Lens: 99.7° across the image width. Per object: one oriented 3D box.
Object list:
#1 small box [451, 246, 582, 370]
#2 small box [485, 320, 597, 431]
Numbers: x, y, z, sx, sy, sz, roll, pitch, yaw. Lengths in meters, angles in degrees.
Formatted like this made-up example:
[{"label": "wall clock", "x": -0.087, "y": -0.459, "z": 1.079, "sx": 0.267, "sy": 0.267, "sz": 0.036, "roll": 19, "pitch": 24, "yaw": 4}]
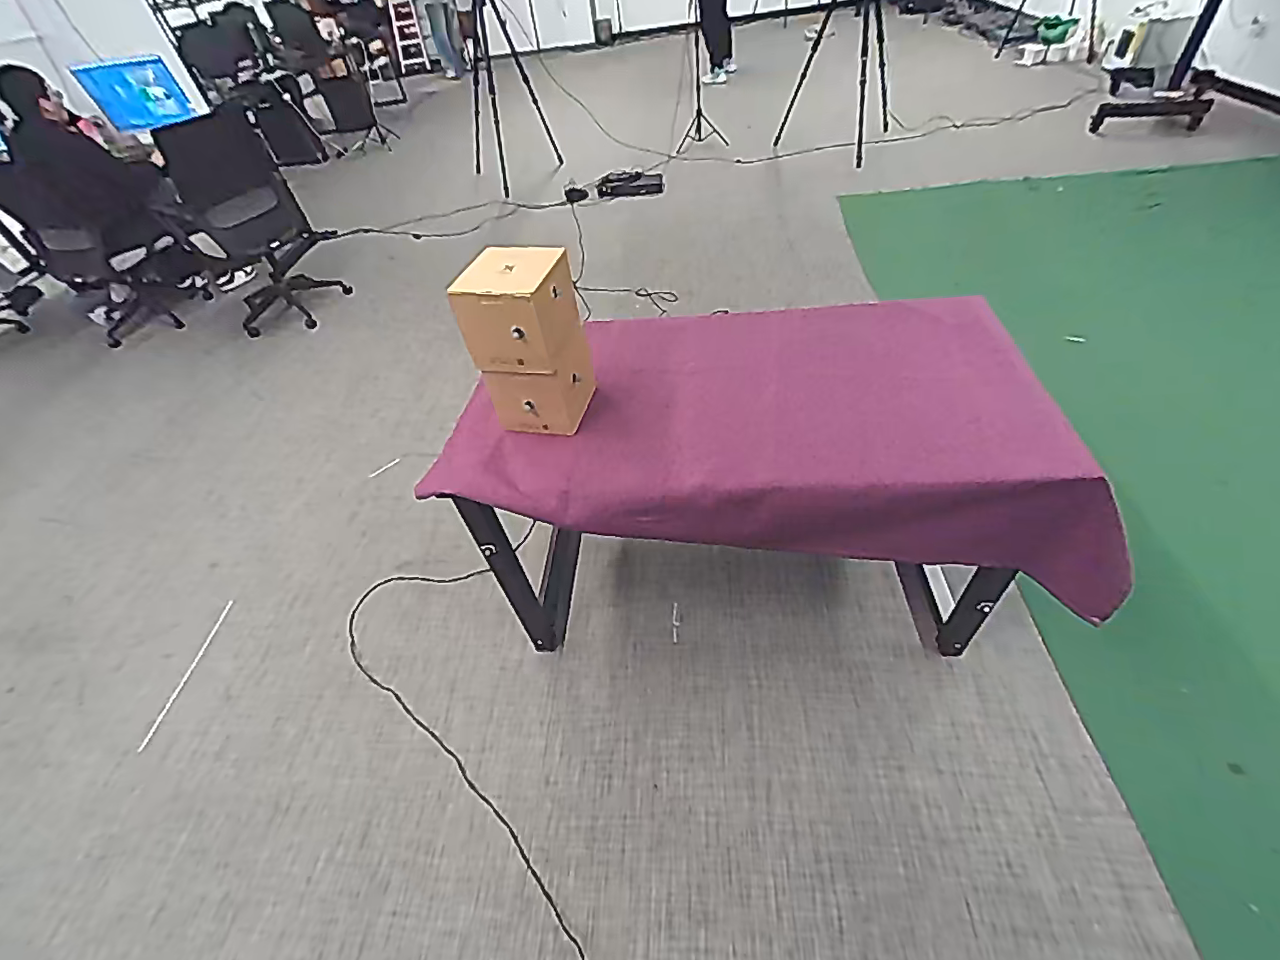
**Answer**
[{"label": "small box", "x": -0.222, "y": -0.327, "z": 1.032, "sx": 0.168, "sy": 0.176, "sz": 0.179, "roll": 7, "pitch": 48, "yaw": 14}, {"label": "small box", "x": -0.200, "y": -0.223, "z": 1.158, "sx": 0.168, "sy": 0.176, "sz": 0.179, "roll": 6, "pitch": 49, "yaw": 14}]
